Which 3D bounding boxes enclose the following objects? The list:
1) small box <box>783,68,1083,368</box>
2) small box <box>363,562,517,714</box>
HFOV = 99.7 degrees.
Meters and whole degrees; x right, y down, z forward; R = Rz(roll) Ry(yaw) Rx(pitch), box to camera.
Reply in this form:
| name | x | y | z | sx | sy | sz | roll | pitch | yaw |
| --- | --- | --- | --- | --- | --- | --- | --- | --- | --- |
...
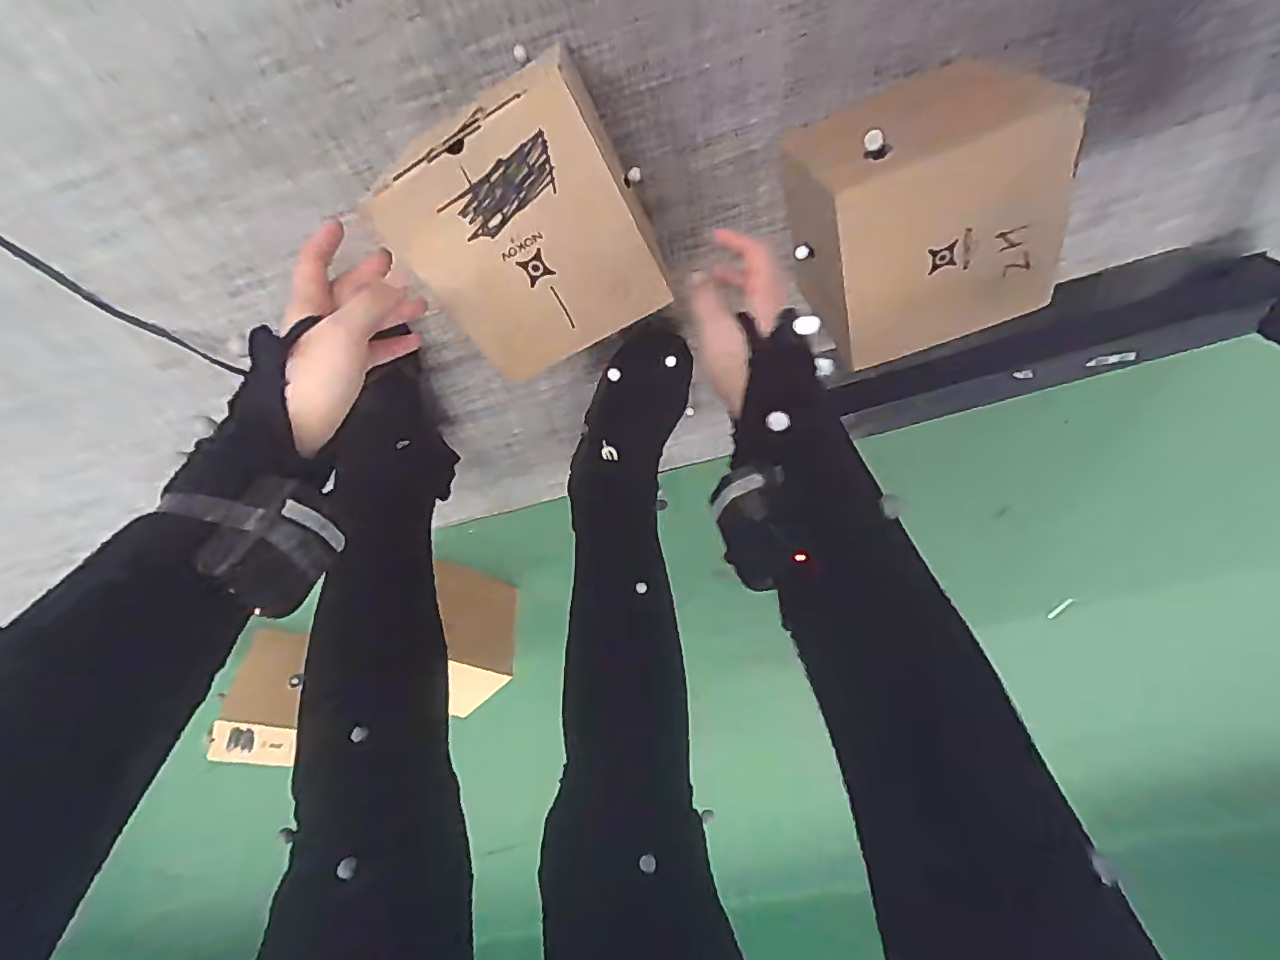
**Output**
| name | x | y | z | sx | sy | sz | roll | pitch | yaw |
| --- | --- | --- | --- | --- | --- | --- | --- | --- | --- |
| small box | 0.240 | -0.237 | 0.490 | 0.179 | 0.176 | 0.168 | -19 | 133 | 11 |
| small box | -0.319 | 0.260 | 0.894 | 0.179 | 0.176 | 0.168 | 28 | 124 | -28 |
